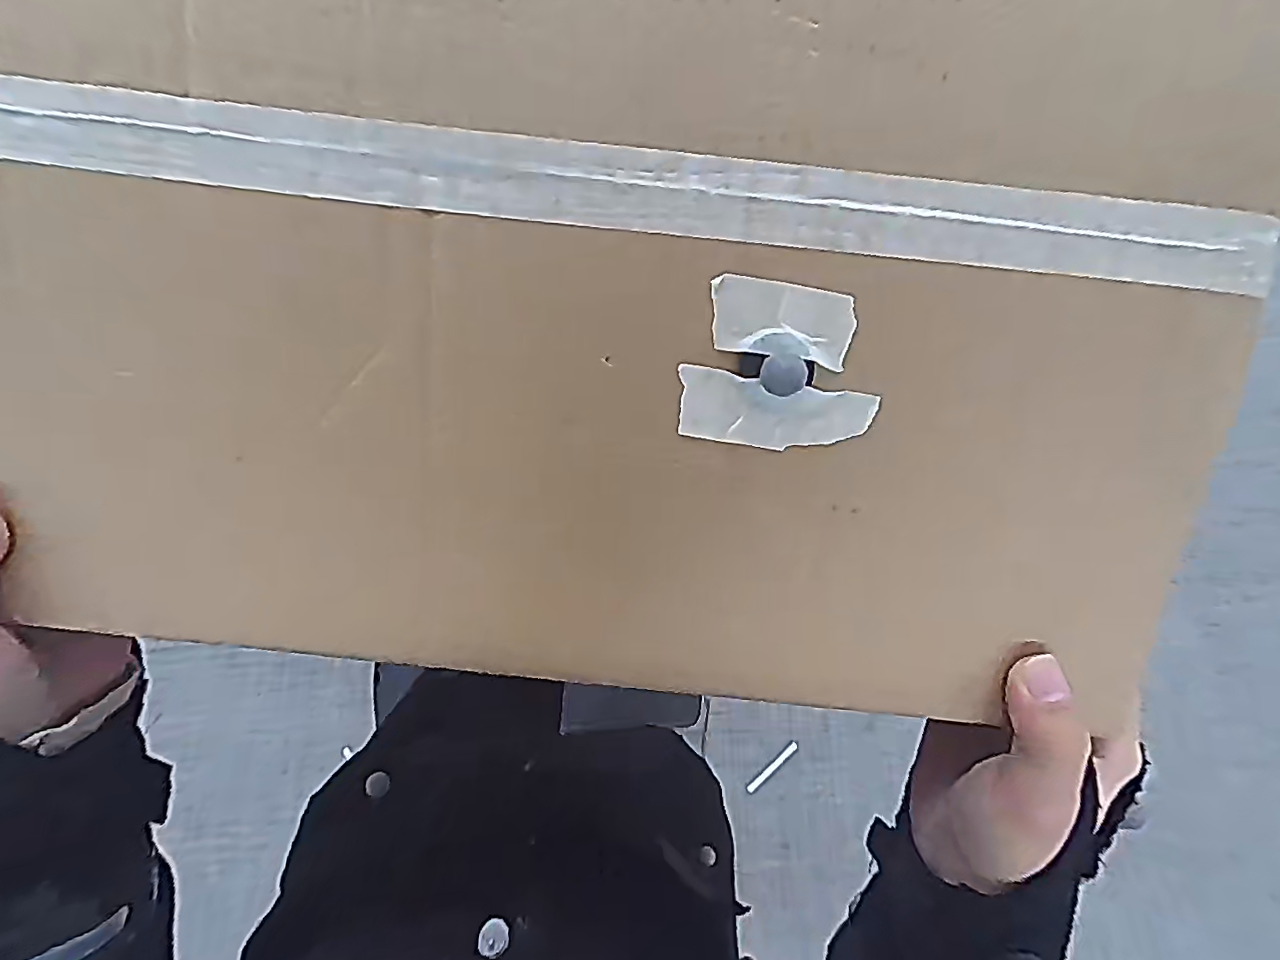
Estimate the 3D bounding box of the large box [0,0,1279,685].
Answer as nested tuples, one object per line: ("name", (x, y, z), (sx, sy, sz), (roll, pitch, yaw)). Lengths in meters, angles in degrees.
("large box", (-0.020, -0.116, 0.315), (0.408, 0.320, 0.320), (6, 102, -1))
